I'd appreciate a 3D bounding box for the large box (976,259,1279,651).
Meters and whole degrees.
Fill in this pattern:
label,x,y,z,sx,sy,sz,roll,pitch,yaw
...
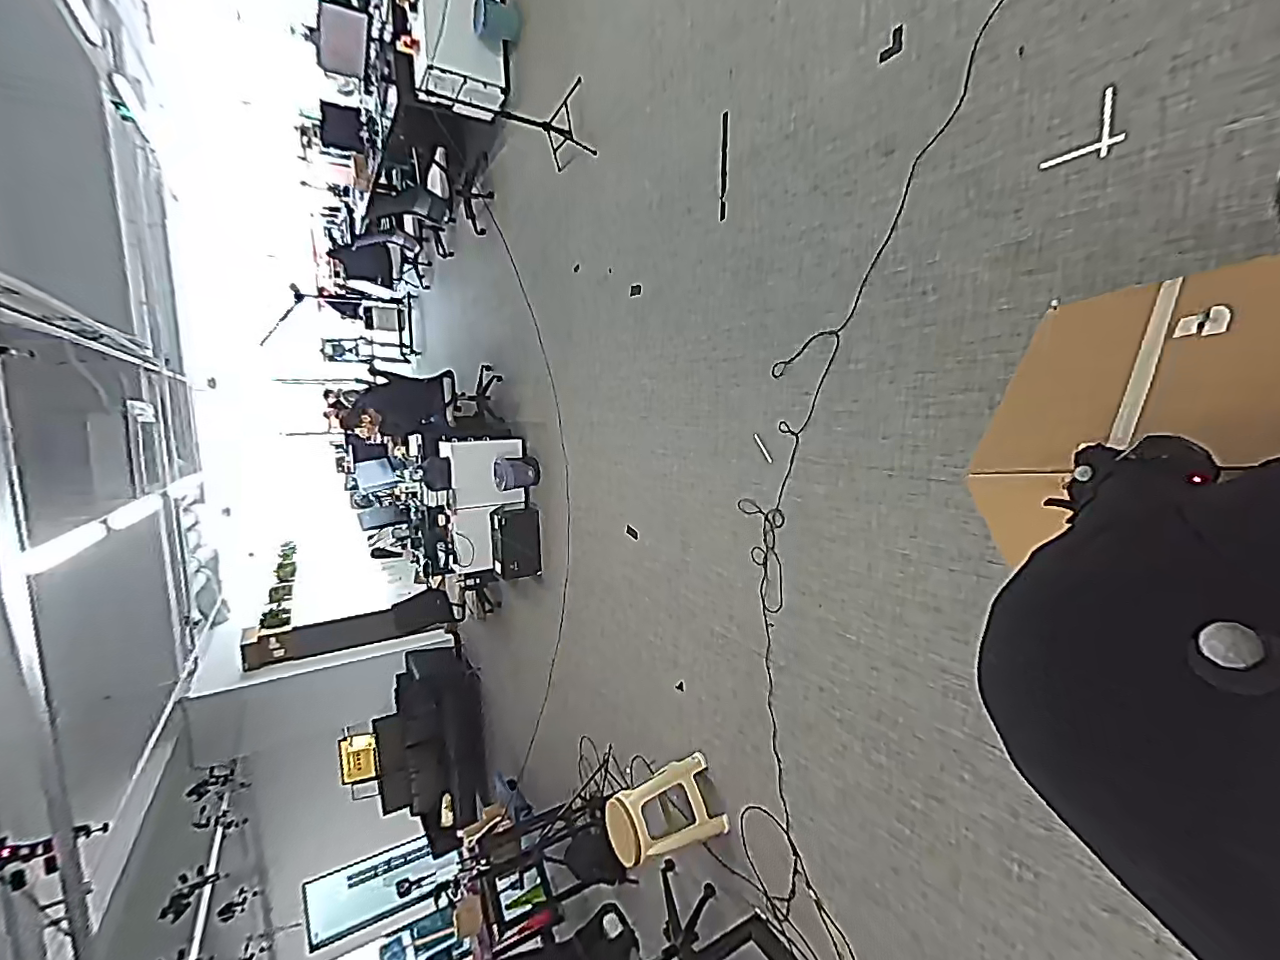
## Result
label,x,y,z,sx,sy,sz,roll,pitch,yaw
large box,0.738,-0.035,0.744,0.320,0.408,0.320,0,133,55
